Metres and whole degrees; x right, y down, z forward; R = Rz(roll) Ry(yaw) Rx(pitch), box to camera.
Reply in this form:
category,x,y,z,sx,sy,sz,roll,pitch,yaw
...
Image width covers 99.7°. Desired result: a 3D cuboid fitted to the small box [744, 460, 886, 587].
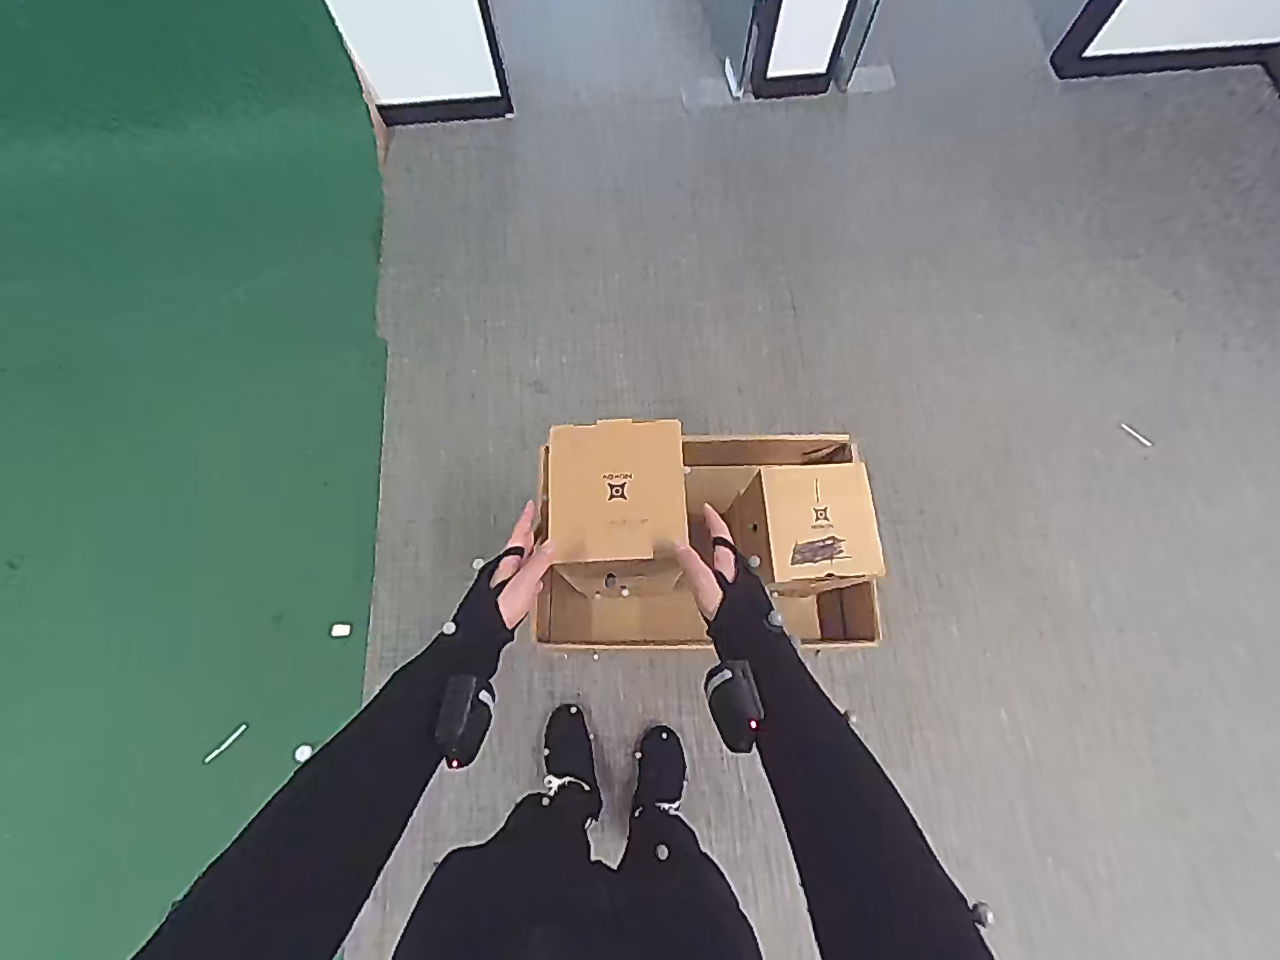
category,x,y,z,sx,sy,sz,roll,pitch,yaw
small box,0.271,0.079,0.878,0.168,0.176,0.179,-3,73,-1

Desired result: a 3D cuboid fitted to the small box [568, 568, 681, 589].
category,x,y,z,sx,sy,sz,roll,pitch,yaw
small box,-0.026,0.076,0.877,0.168,0.176,0.179,-2,72,0

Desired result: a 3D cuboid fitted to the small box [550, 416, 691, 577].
category,x,y,z,sx,sy,sz,roll,pitch,yaw
small box,-0.025,0.028,0.721,0.168,0.176,0.179,-2,73,0
